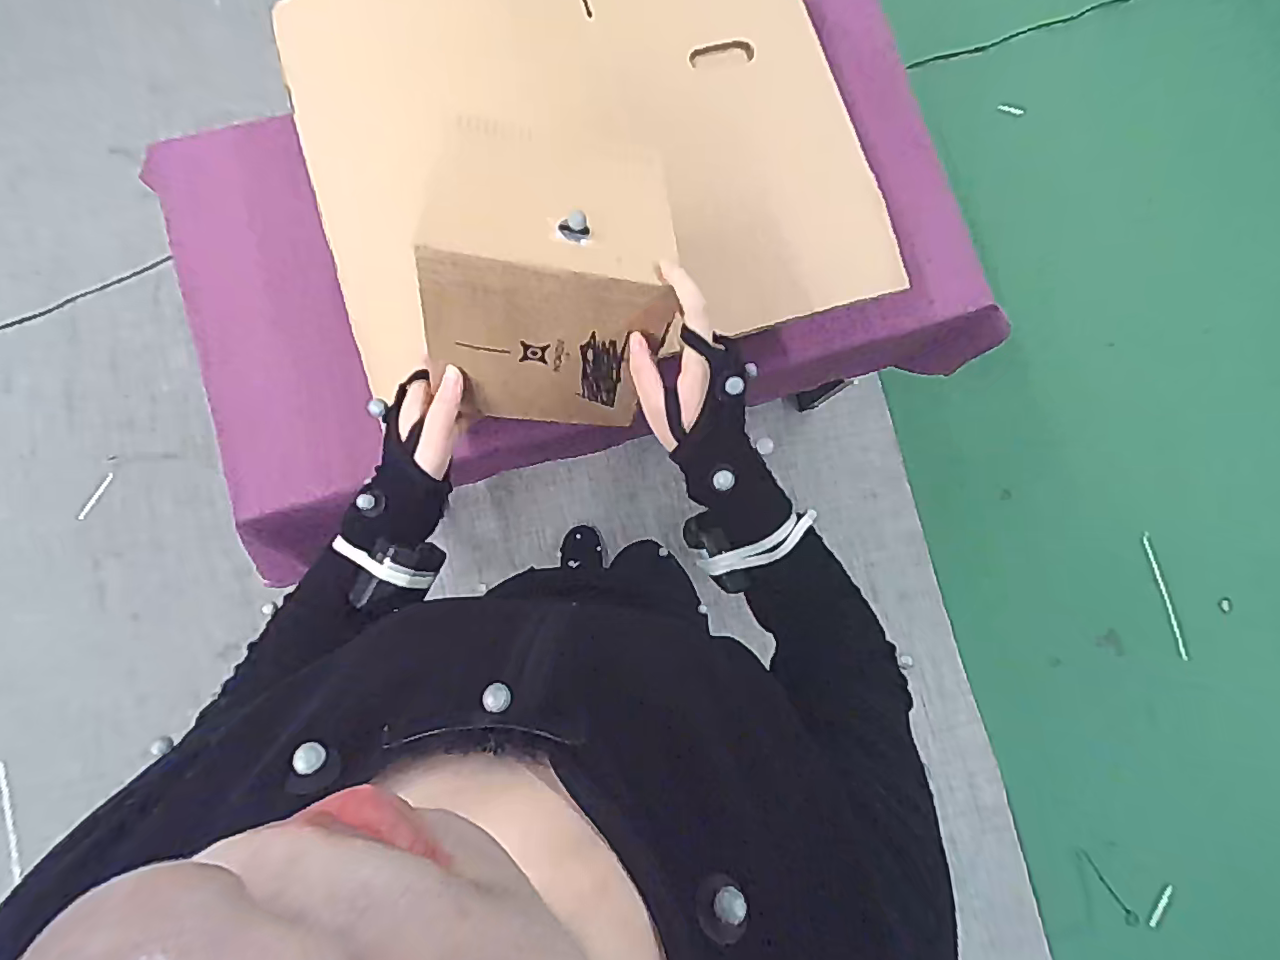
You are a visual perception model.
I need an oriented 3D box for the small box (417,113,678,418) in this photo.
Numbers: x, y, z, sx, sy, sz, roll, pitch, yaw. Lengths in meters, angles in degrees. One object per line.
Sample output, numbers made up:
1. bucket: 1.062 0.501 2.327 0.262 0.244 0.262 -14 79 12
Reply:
1. small box: -0.080 -0.173 0.461 0.179 0.168 0.176 4 60 -13
